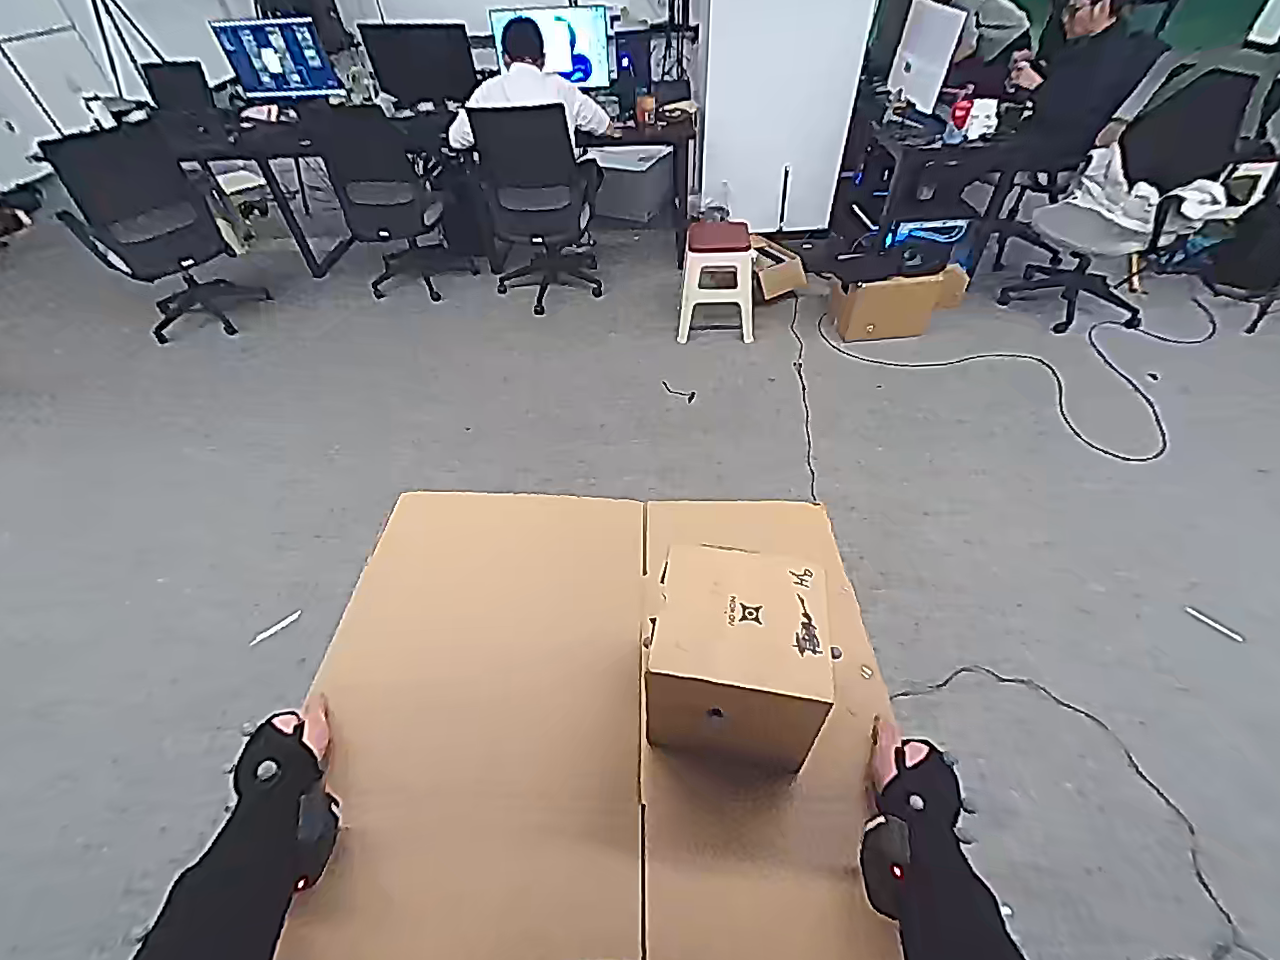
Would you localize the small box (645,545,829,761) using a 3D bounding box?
[{"bbox_3d":[0.108,0.198,0.620,0.179,0.176,0.168,6,44,9],"label":"small box"}]
